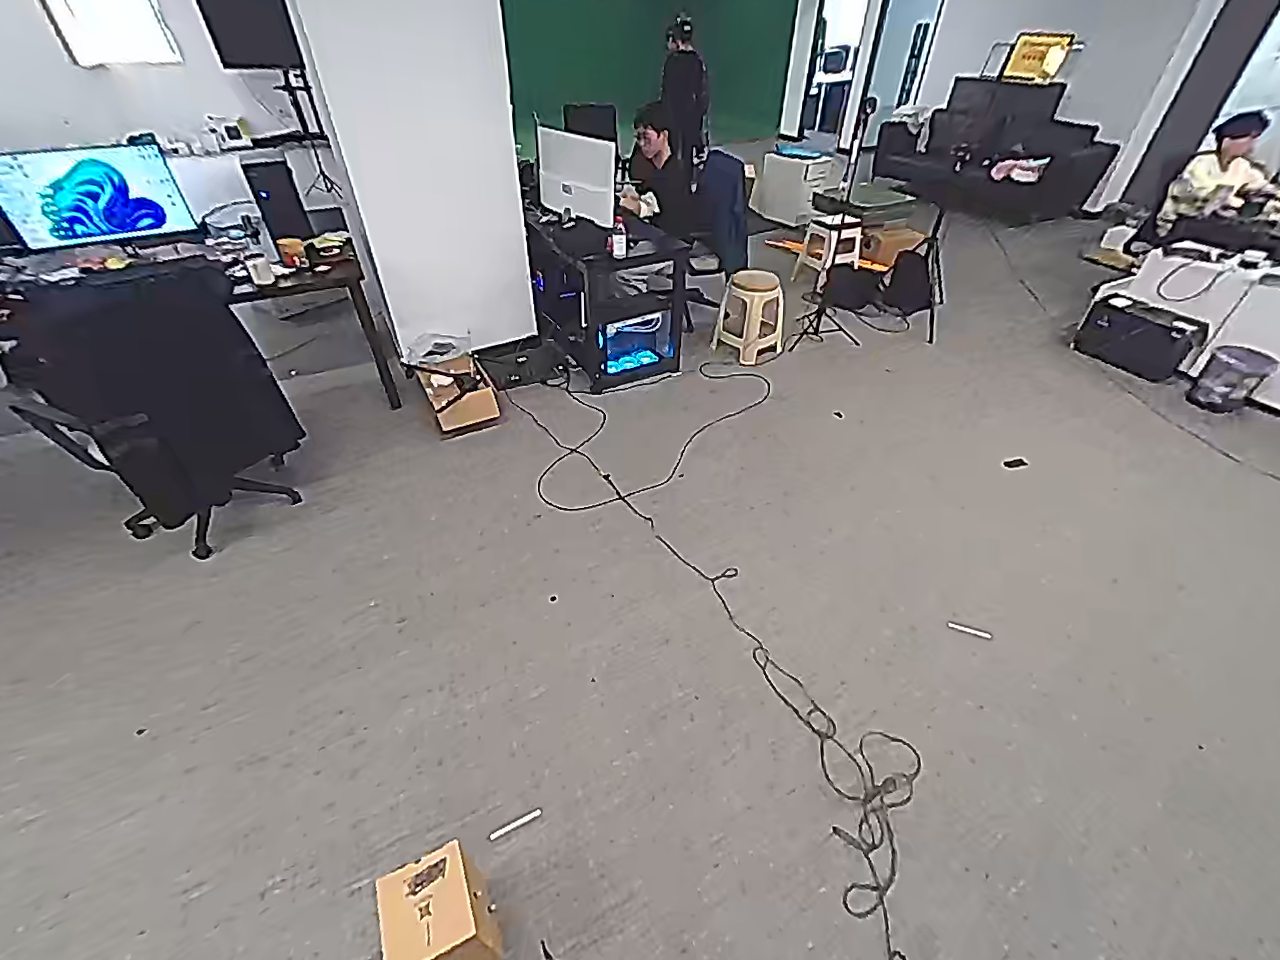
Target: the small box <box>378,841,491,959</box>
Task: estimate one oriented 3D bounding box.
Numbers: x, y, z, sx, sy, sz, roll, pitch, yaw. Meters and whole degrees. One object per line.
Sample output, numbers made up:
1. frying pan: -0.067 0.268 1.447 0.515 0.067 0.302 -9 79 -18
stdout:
1. small box: -0.415 0.888 1.098 0.168 0.176 0.179 -18 44 -19
